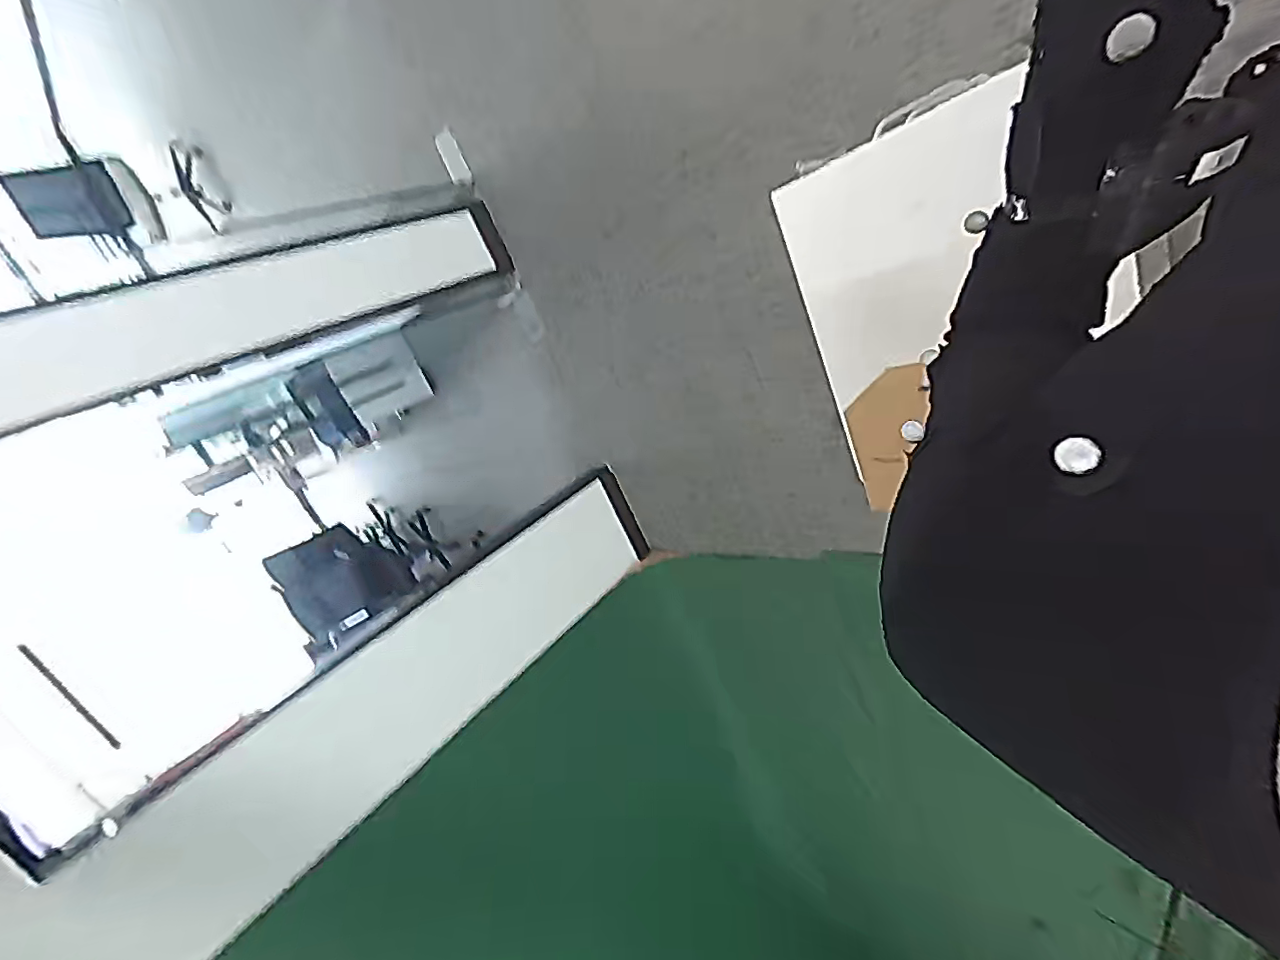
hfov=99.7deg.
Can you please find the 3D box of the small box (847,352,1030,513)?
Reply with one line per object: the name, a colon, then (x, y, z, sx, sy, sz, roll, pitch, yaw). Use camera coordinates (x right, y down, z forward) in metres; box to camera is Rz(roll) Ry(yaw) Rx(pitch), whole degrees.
small box: (0.428, -0.066, 0.764, 0.179, 0.176, 0.168, -3, 116, 49)
